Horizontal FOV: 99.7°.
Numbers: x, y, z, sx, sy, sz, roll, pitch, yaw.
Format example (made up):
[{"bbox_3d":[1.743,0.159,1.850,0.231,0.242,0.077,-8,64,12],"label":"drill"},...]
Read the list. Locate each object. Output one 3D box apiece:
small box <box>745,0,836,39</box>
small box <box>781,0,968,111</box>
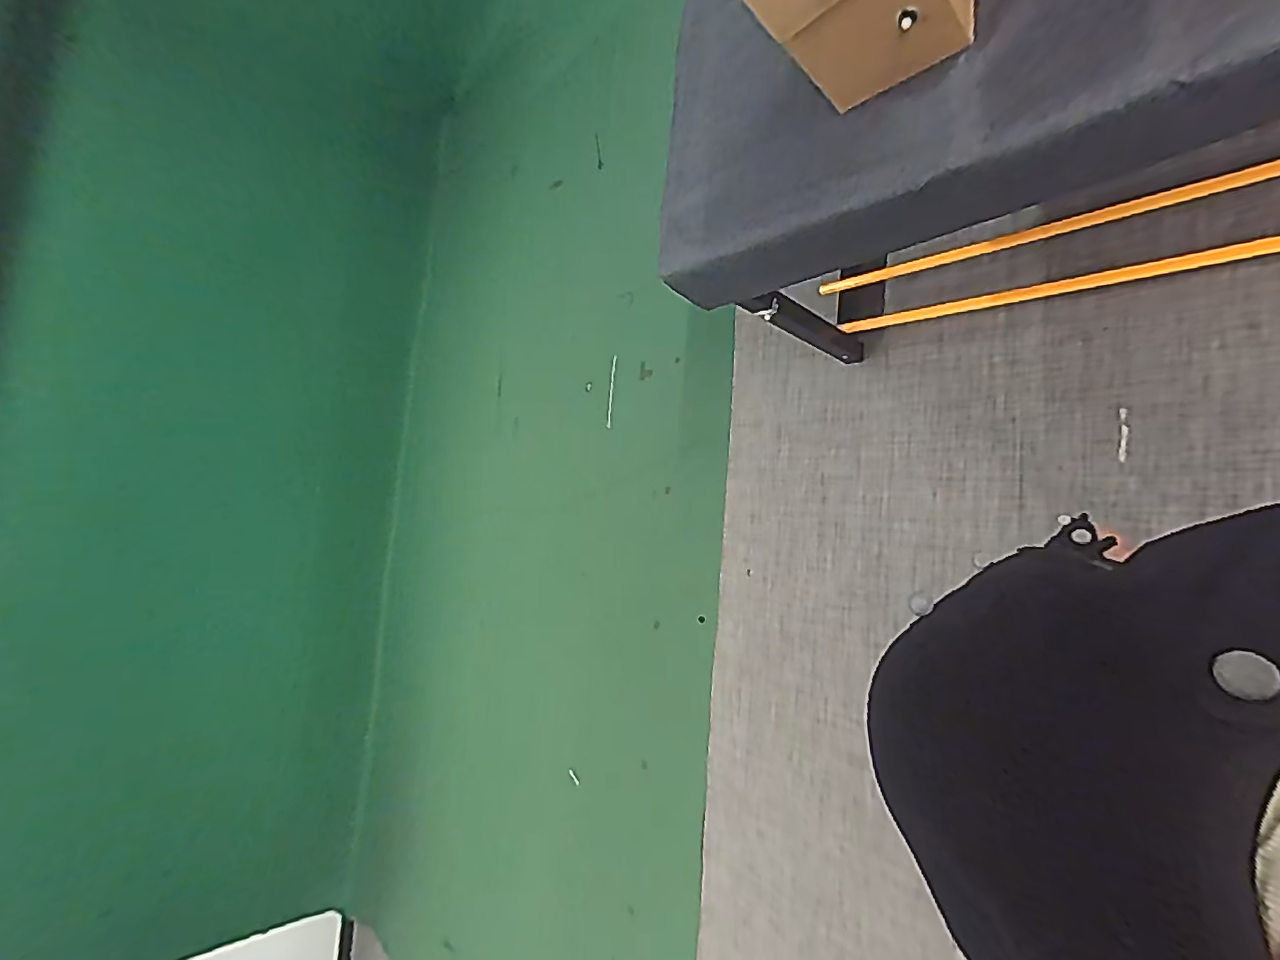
[{"bbox_3d":[0.183,-0.647,0.581,0.179,0.176,0.168,-6,77,46],"label":"small box"},{"bbox_3d":[0.304,-0.631,0.691,0.179,0.176,0.168,-2,80,48],"label":"small box"}]
